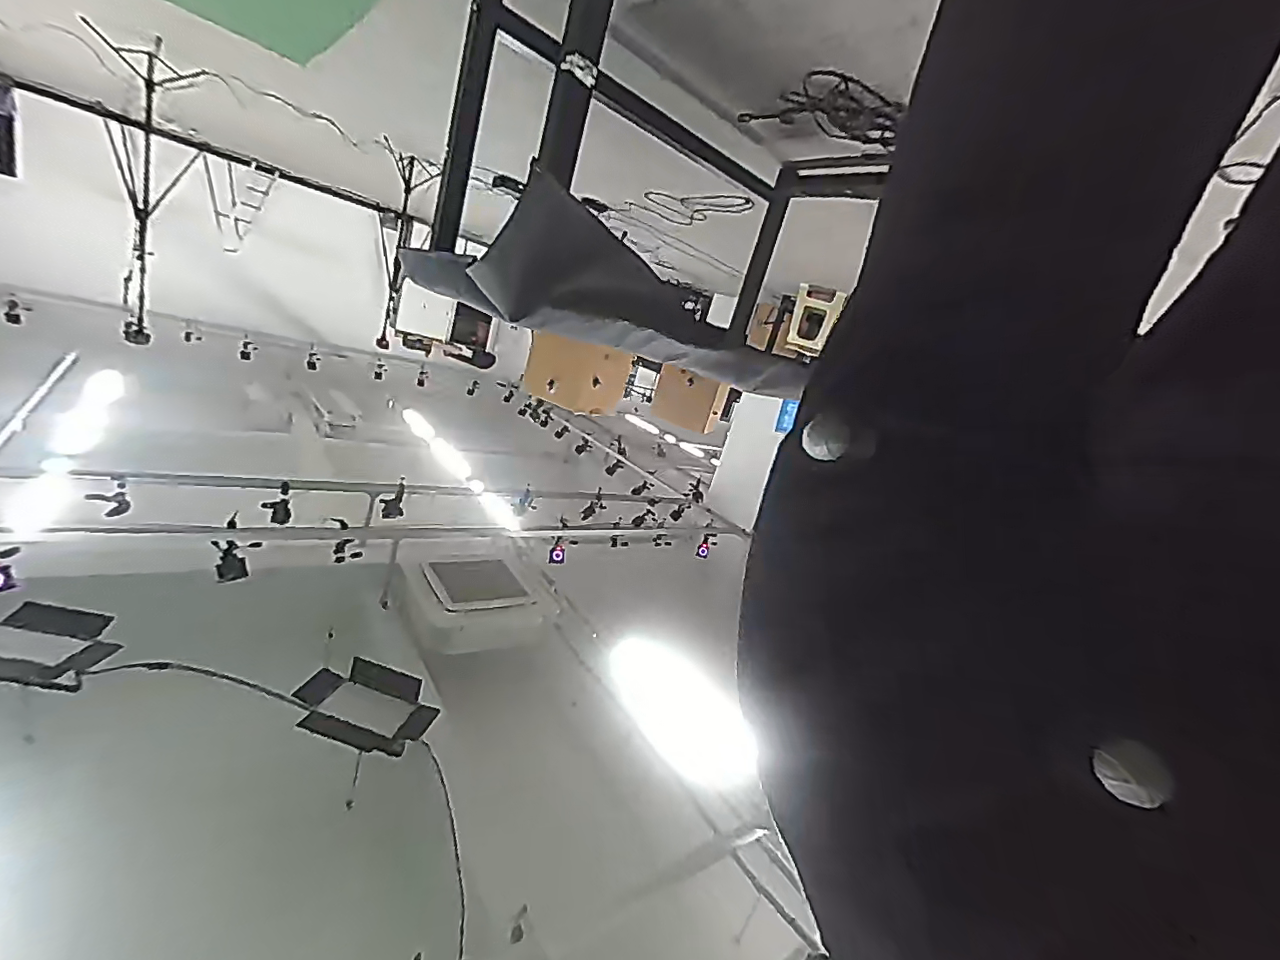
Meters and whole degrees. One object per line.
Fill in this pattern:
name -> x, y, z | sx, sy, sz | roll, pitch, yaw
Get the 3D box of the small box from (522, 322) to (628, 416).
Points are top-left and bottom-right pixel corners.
small box -> -0.146, -0.260, 1.269 | 0.179, 0.176, 0.168 | 27, -164, 28
